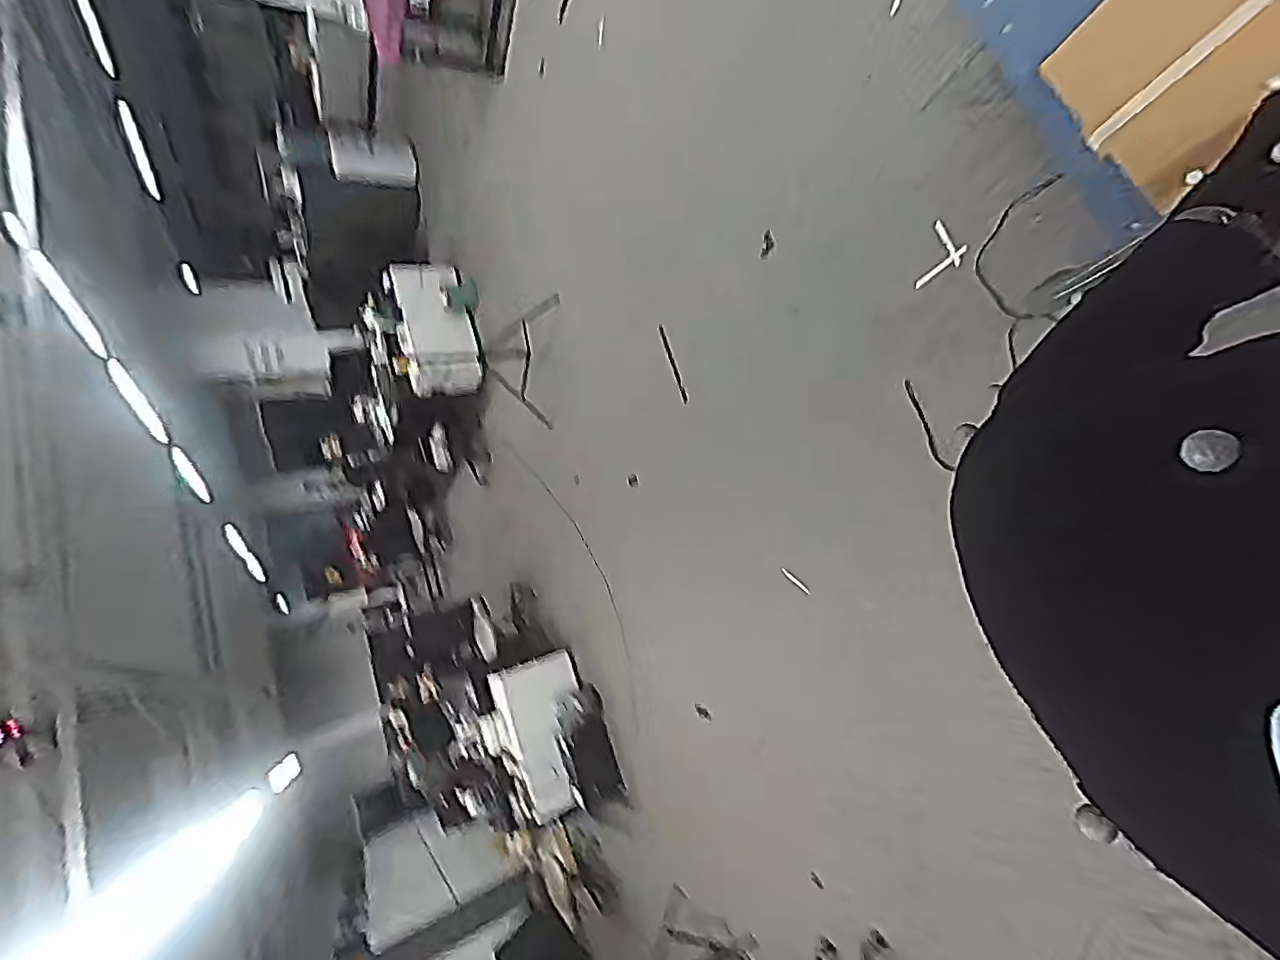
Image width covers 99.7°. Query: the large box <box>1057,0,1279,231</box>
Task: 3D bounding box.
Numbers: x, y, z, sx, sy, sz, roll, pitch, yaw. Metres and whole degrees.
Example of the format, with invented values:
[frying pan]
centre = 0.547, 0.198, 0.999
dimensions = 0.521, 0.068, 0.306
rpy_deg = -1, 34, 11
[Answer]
[large box]
centre = 0.897, -0.606, 0.709
dimensions = 0.408, 0.320, 0.320
rpy_deg = -44, 63, 53
